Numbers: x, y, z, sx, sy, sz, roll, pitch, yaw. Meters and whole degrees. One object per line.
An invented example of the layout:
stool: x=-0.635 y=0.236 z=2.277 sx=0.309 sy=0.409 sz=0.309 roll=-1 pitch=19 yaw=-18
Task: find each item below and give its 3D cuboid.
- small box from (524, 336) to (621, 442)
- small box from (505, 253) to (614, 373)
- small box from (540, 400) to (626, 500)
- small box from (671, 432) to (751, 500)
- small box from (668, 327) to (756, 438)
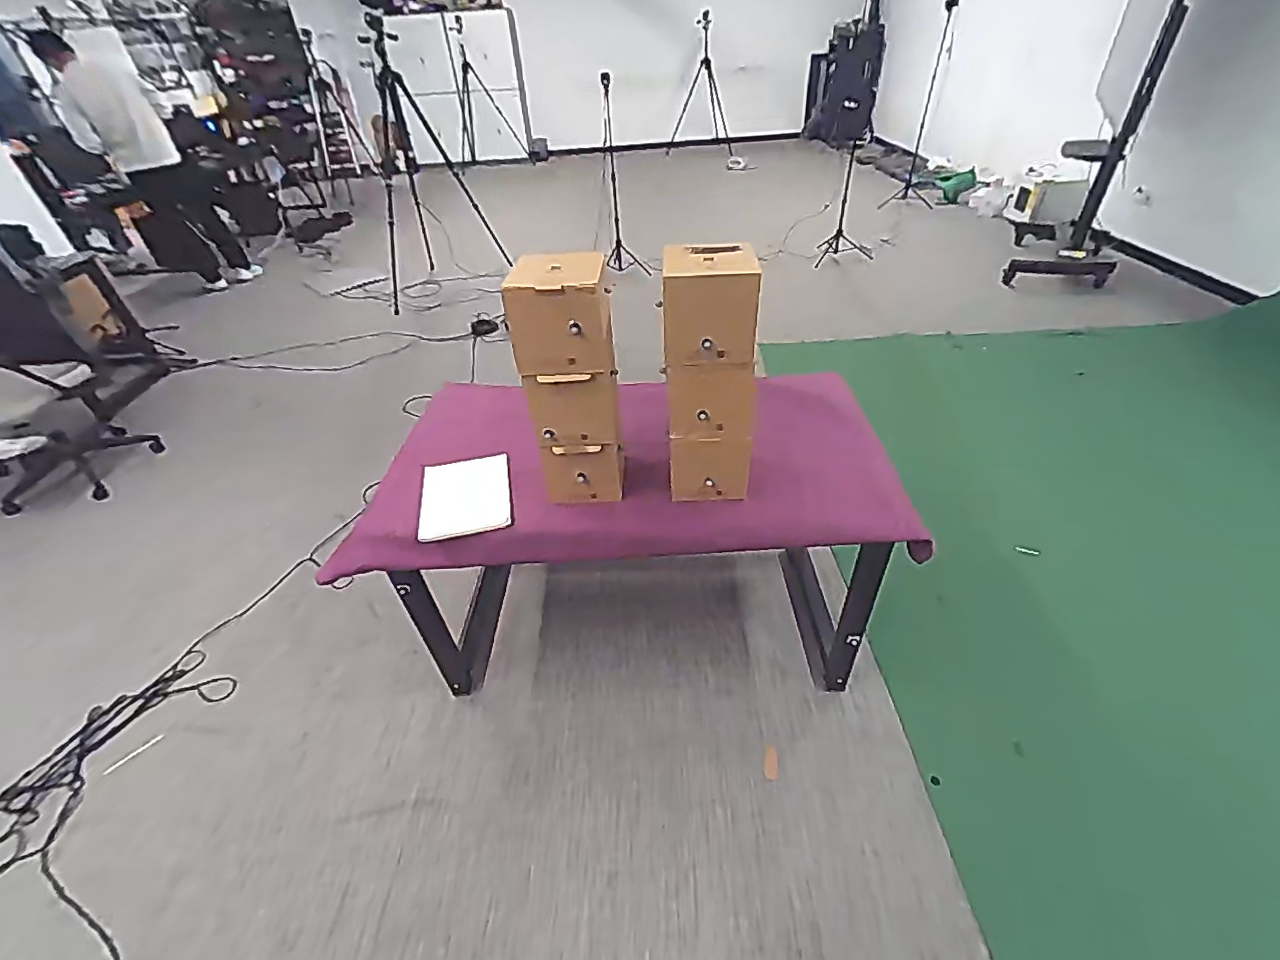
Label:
small box: x=-0.131 y=-0.189 z=1.127 sx=0.168 sy=0.176 sz=0.179 roll=-2 pitch=39 yaw=3
small box: x=-0.140 y=-0.312 z=1.019 sx=0.168 sy=0.176 sz=0.179 roll=-1 pitch=39 yaw=3
small box: x=-0.122 y=-0.066 z=1.237 sx=0.168 sy=0.176 sz=0.179 roll=-1 pitch=40 yaw=3
small box: x=0.153 y=-0.072 z=1.218 sx=0.168 sy=0.176 sz=0.179 roll=-3 pitch=39 yaw=4
small box: x=0.142 y=-0.202 z=1.121 sx=0.168 sy=0.176 sz=0.179 roll=-1 pitch=39 yaw=3
